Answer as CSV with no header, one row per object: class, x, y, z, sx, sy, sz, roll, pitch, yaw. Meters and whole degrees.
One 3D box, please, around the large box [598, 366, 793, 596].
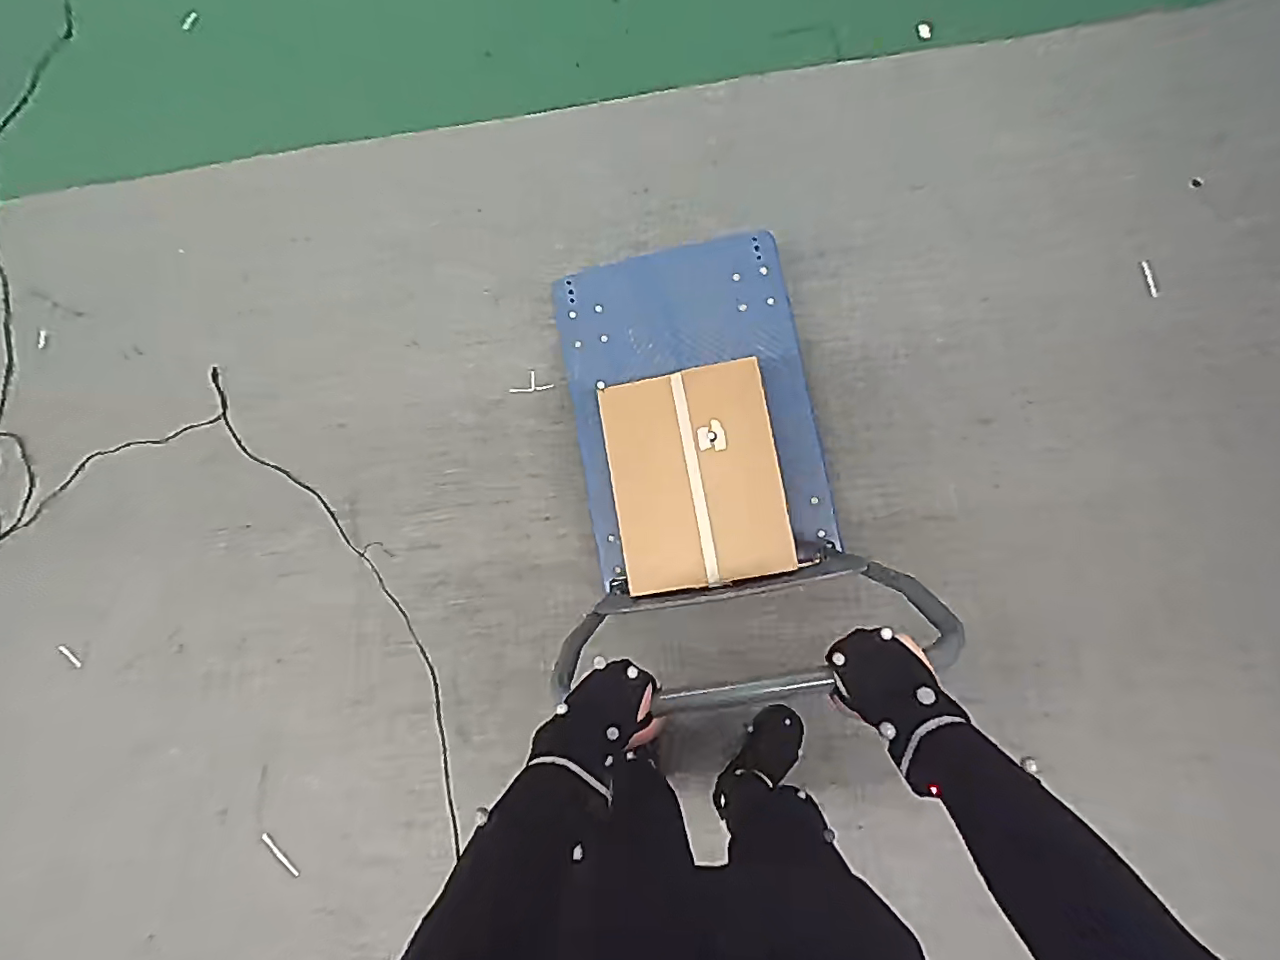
large box,0.121,0.018,1.181,0.320,0.320,0.408,-11,82,6
